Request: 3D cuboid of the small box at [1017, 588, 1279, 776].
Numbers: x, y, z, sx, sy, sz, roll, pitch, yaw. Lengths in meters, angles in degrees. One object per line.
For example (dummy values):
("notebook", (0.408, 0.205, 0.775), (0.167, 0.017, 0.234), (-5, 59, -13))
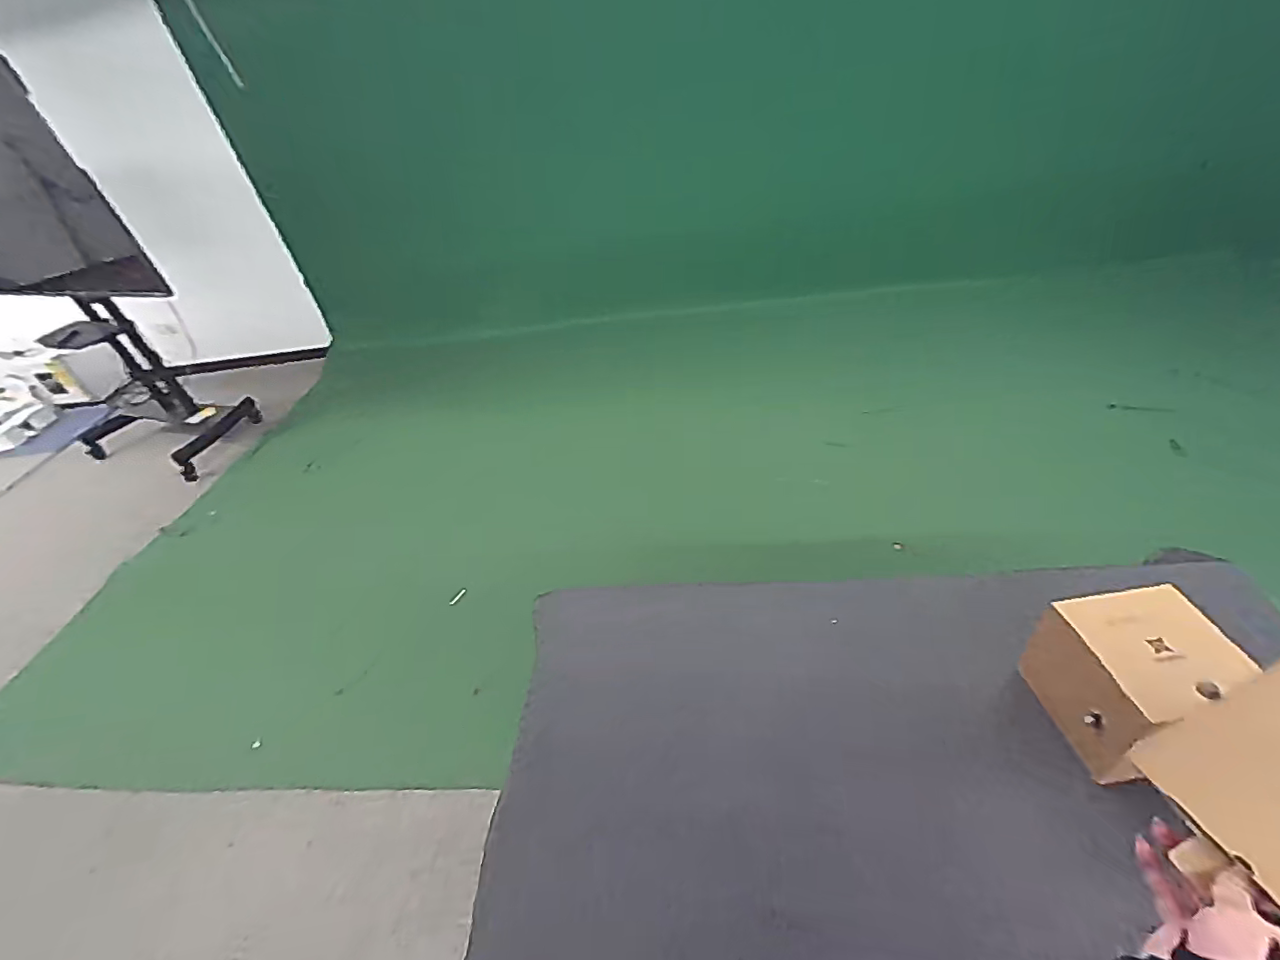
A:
("small box", (0.661, 0.276, 0.729), (0.168, 0.176, 0.179), (-8, 38, 0))
